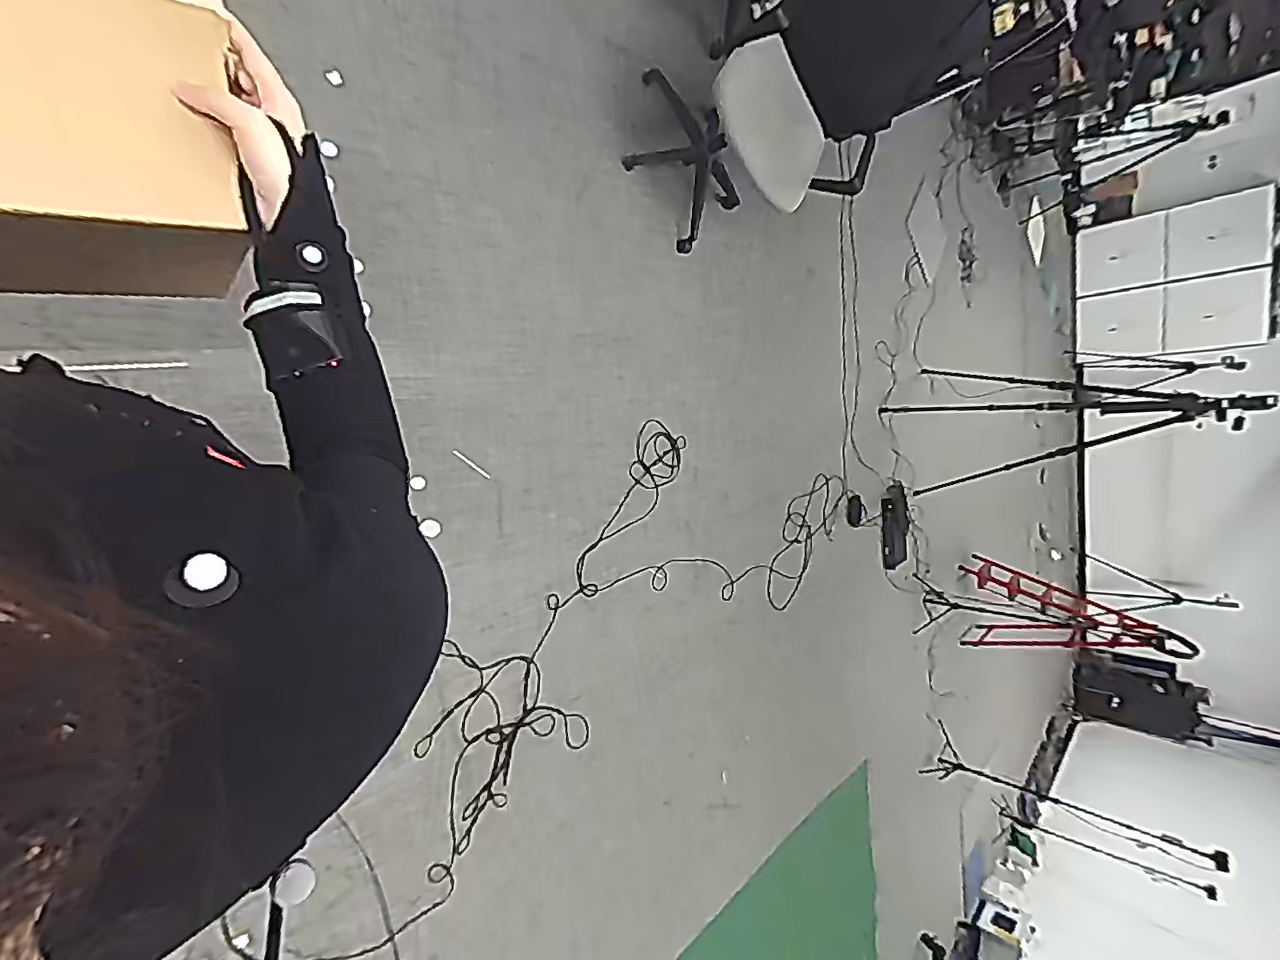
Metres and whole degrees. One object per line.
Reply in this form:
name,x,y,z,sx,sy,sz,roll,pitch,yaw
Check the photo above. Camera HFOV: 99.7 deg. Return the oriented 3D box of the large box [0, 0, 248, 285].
large box,-0.565,-0.323,0.384,0.408,0.320,0.320,-14,104,-38
